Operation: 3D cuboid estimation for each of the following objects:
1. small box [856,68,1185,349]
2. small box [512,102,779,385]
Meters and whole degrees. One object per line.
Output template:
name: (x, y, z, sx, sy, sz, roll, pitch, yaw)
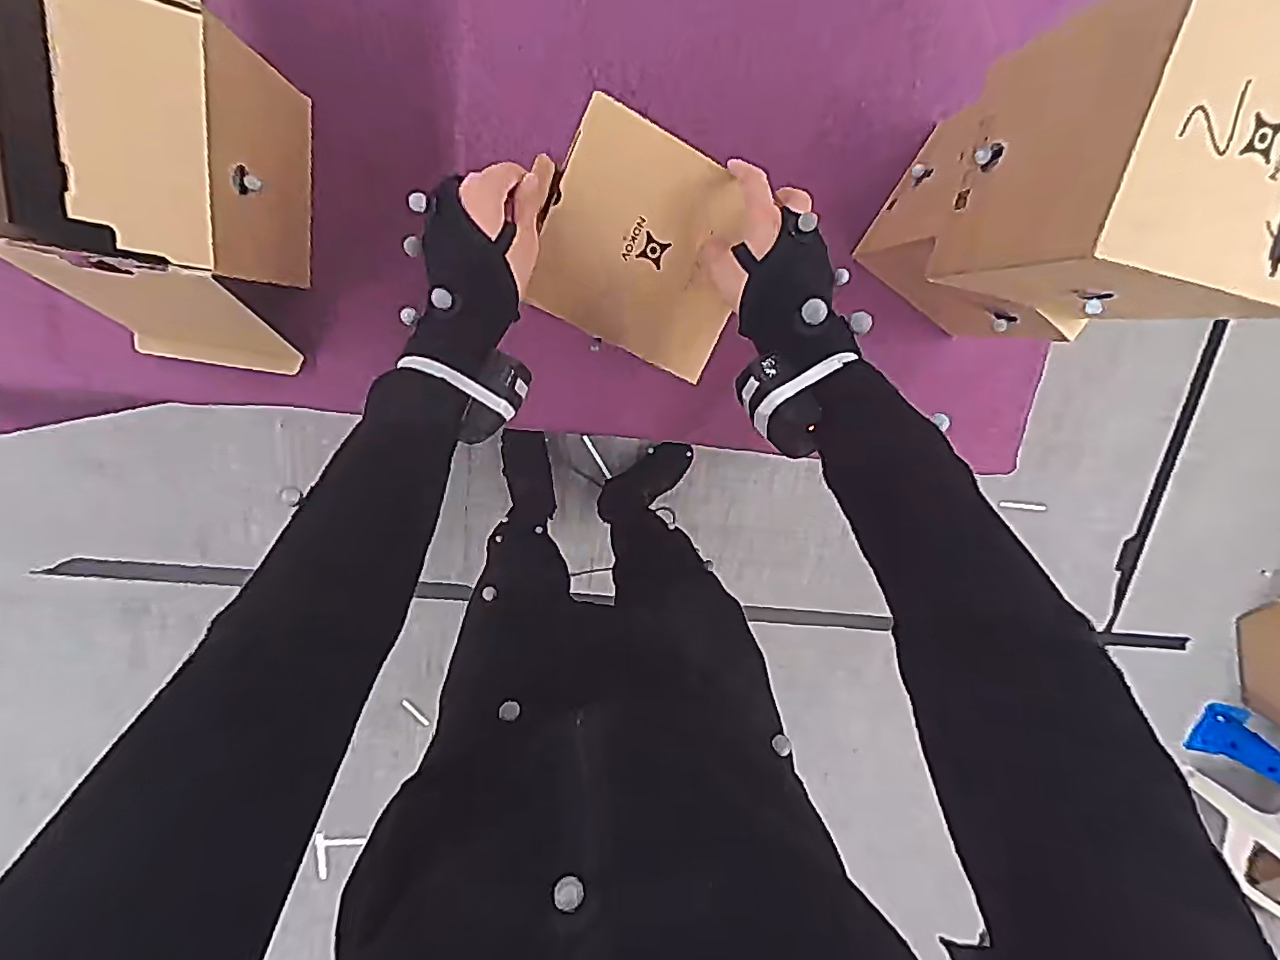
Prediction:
small box: (0.368, -0.256, 0.555, 0.179, 0.176, 0.168, 31, 100, -14)
small box: (-0.005, -0.208, 0.523, 0.179, 0.176, 0.168, 23, 102, -14)
